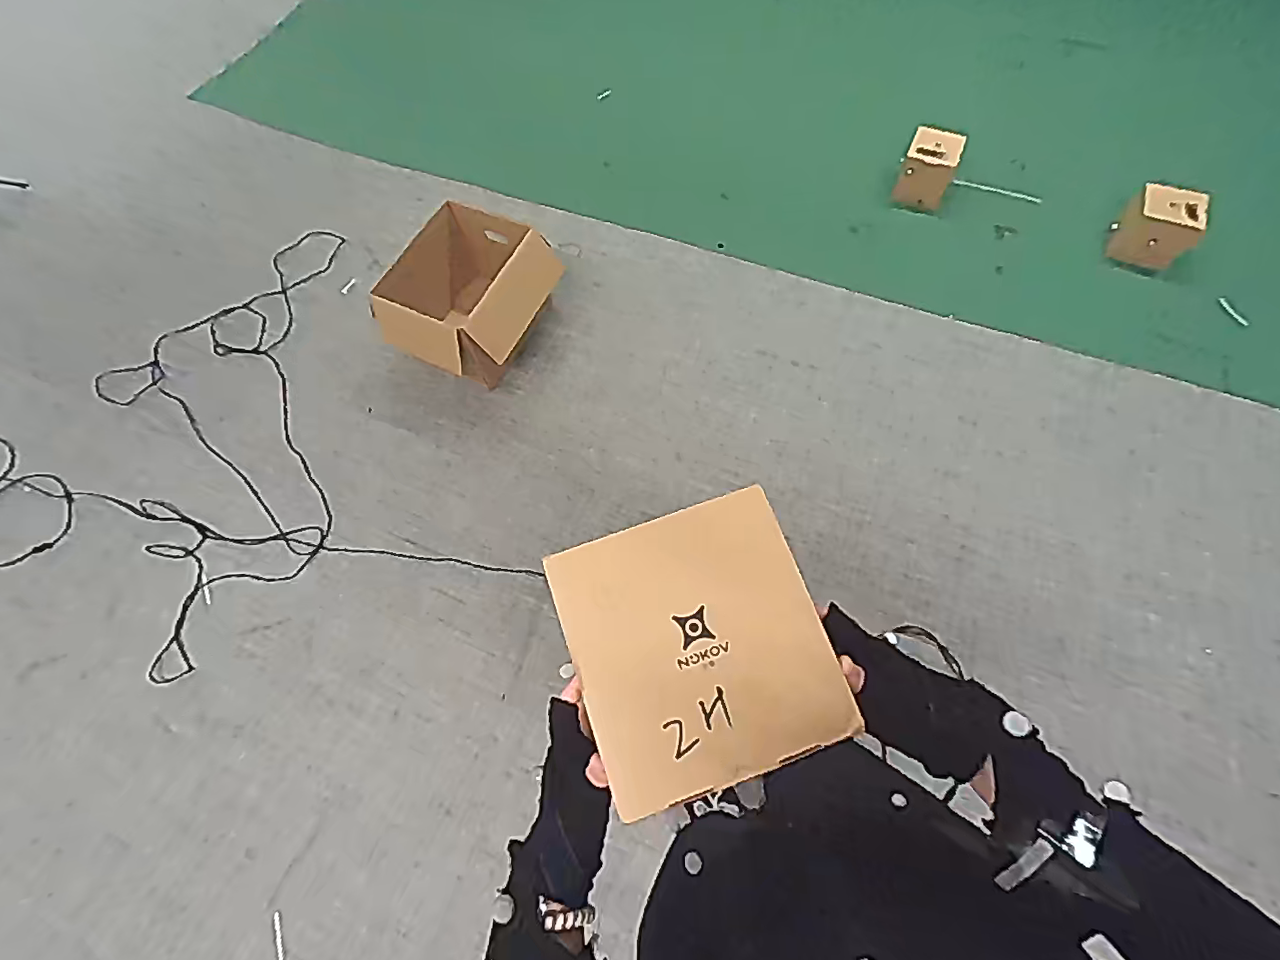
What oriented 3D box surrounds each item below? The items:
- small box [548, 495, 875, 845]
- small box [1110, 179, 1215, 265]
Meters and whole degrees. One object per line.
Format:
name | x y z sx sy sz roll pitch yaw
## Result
small box | 0.041 0.135 0.420 0.168 0.176 0.179 -19 74 -4
small box | 1.681 -0.825 1.745 0.179 0.176 0.168 22 68 13
